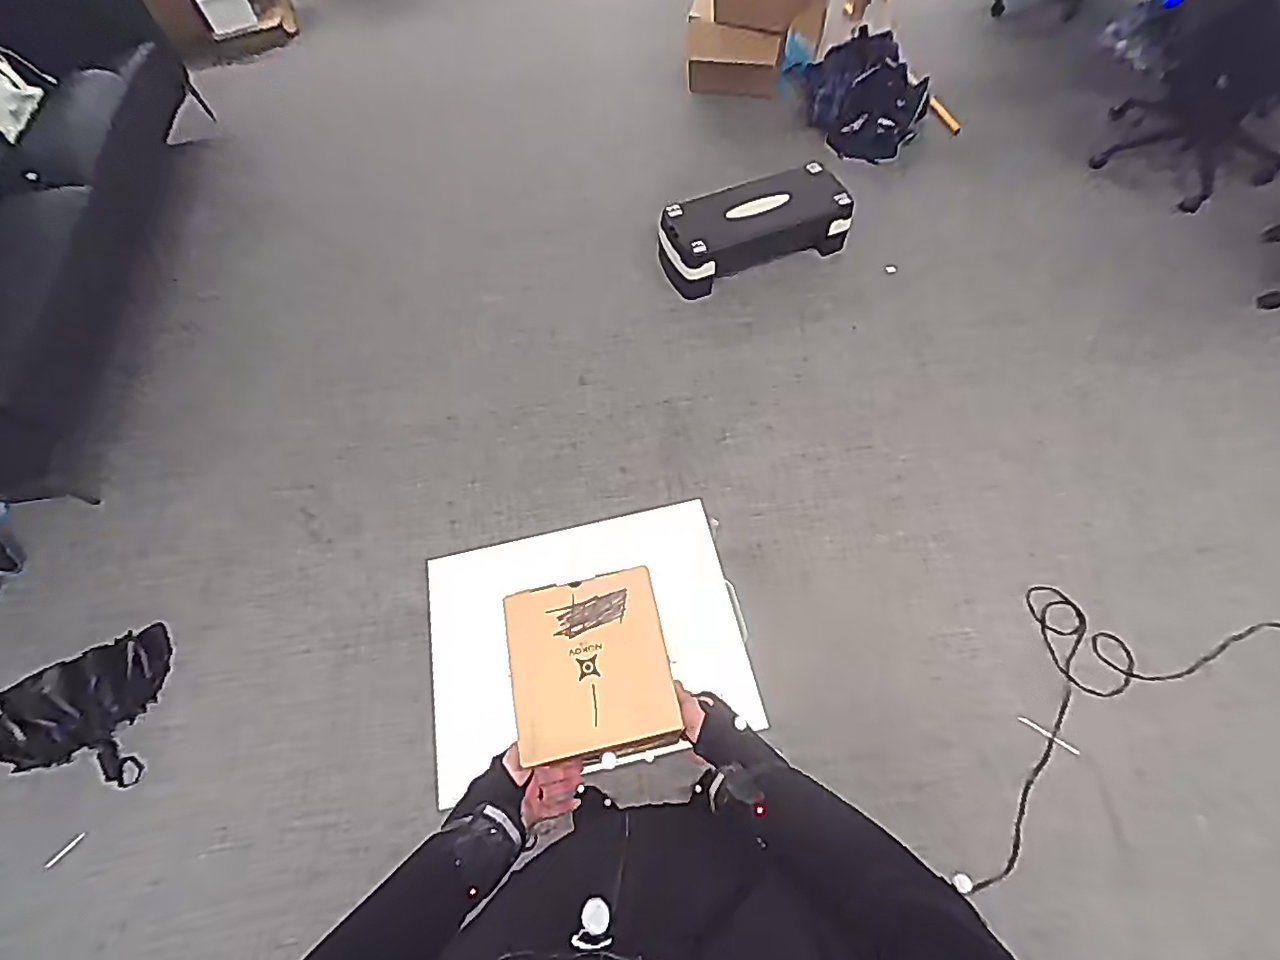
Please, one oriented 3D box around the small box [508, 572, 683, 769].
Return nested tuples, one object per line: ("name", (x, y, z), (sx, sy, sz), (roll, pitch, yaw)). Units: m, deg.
("small box", (-0.051, 0.231, 0.641), (0.168, 0.176, 0.179), (-12, 63, -3))
